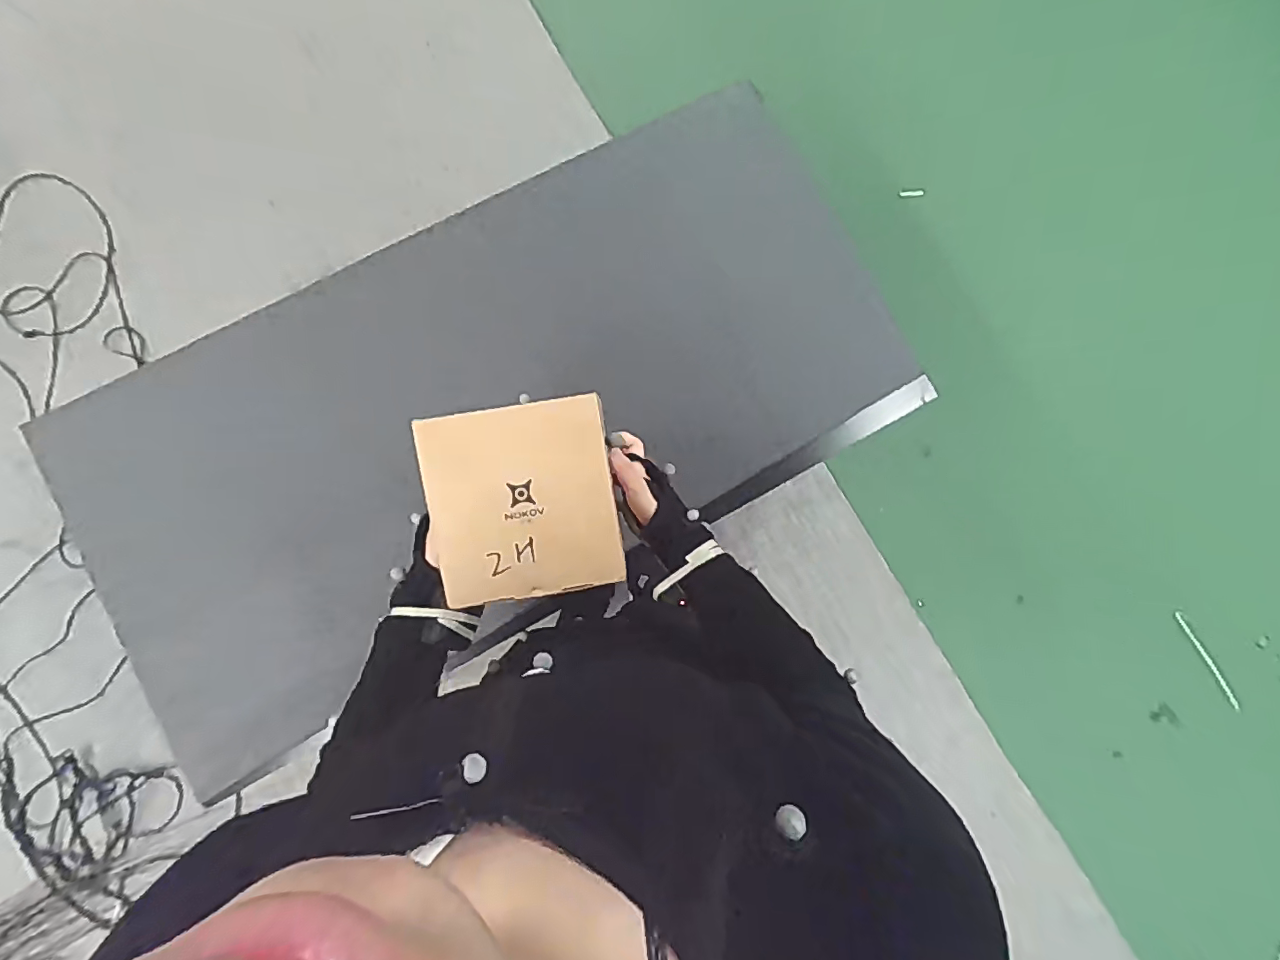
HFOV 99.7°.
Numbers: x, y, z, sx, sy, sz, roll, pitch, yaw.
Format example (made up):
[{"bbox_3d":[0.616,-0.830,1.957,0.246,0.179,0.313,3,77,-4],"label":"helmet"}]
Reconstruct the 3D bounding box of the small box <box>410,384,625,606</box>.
[{"bbox_3d":[-0.109,0.010,0.544,0.168,0.176,0.179,-8,94,-2],"label":"small box"}]
